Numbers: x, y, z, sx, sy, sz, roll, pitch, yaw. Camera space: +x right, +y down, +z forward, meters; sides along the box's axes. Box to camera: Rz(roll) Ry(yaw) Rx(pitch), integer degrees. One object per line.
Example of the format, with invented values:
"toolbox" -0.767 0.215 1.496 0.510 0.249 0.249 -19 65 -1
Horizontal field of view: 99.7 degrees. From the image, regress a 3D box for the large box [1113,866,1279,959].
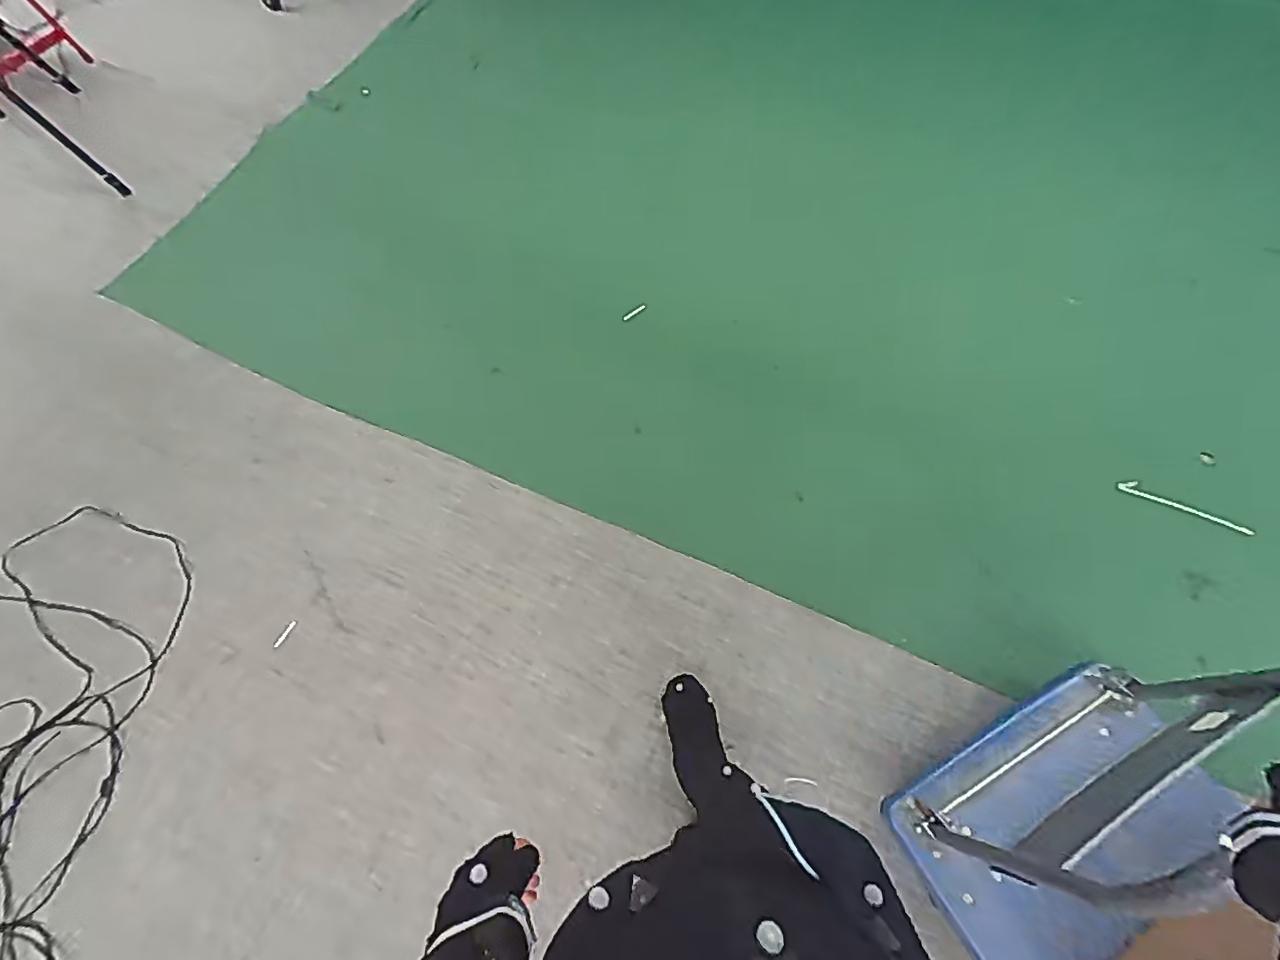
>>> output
"large box" 0.938 0.852 0.756 0.408 0.320 0.320 -31 69 -11
